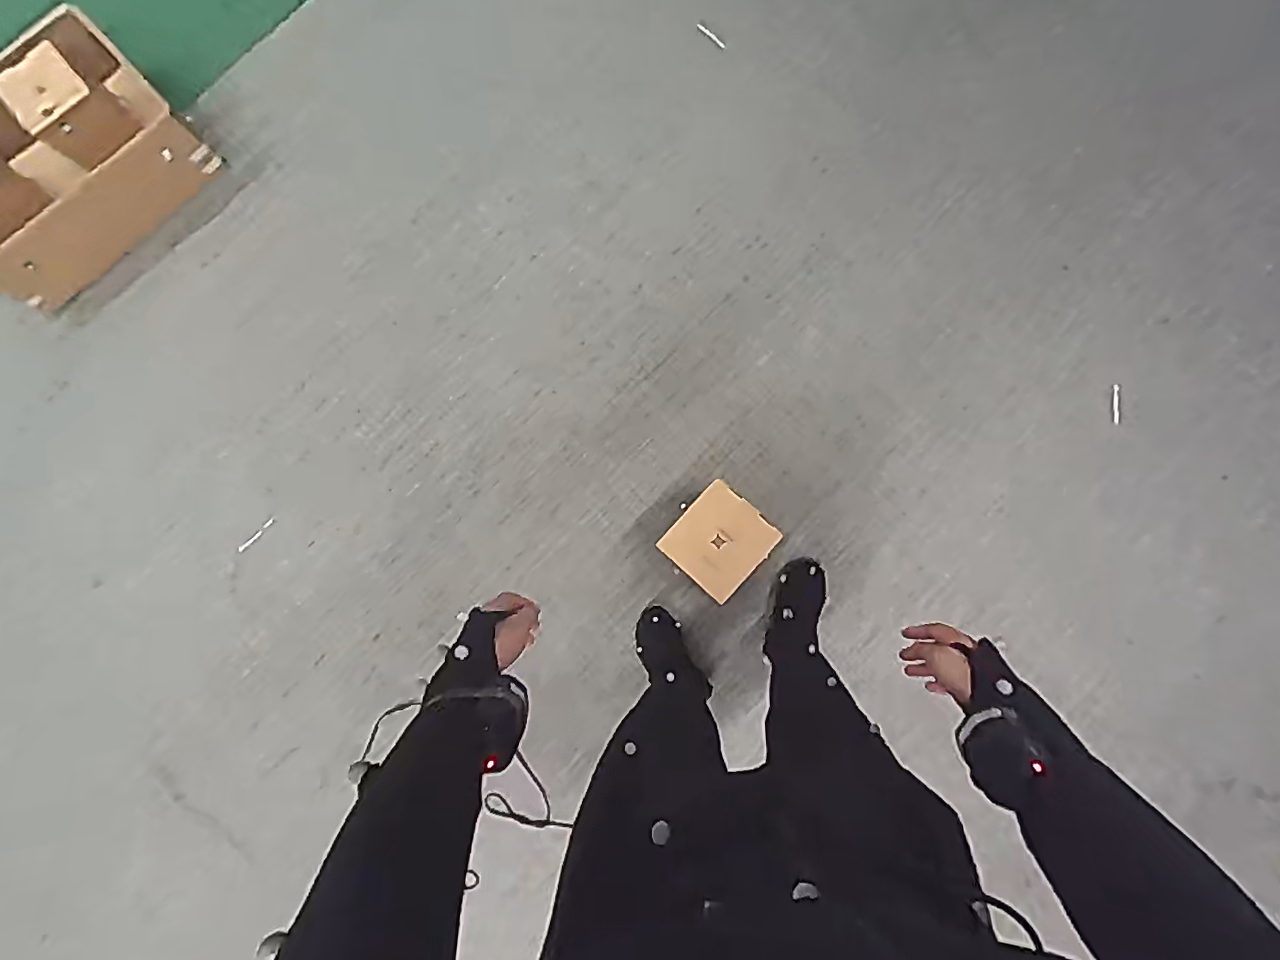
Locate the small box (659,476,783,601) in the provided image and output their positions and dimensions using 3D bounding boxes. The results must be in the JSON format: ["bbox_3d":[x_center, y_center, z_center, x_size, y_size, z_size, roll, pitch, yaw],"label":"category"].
[{"bbox_3d":[0.151,0.114,1.082,0.168,0.176,0.179,42,87,6],"label":"small box"}]

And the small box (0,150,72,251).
[{"bbox_3d":[-1.555,-0.691,1.295,0.179,0.176,0.168,44,86,4],"label":"small box"}]

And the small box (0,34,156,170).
[{"bbox_3d":[-1.360,-0.909,1.317,0.168,0.176,0.179,-40,86,-3],"label":"small box"}]
